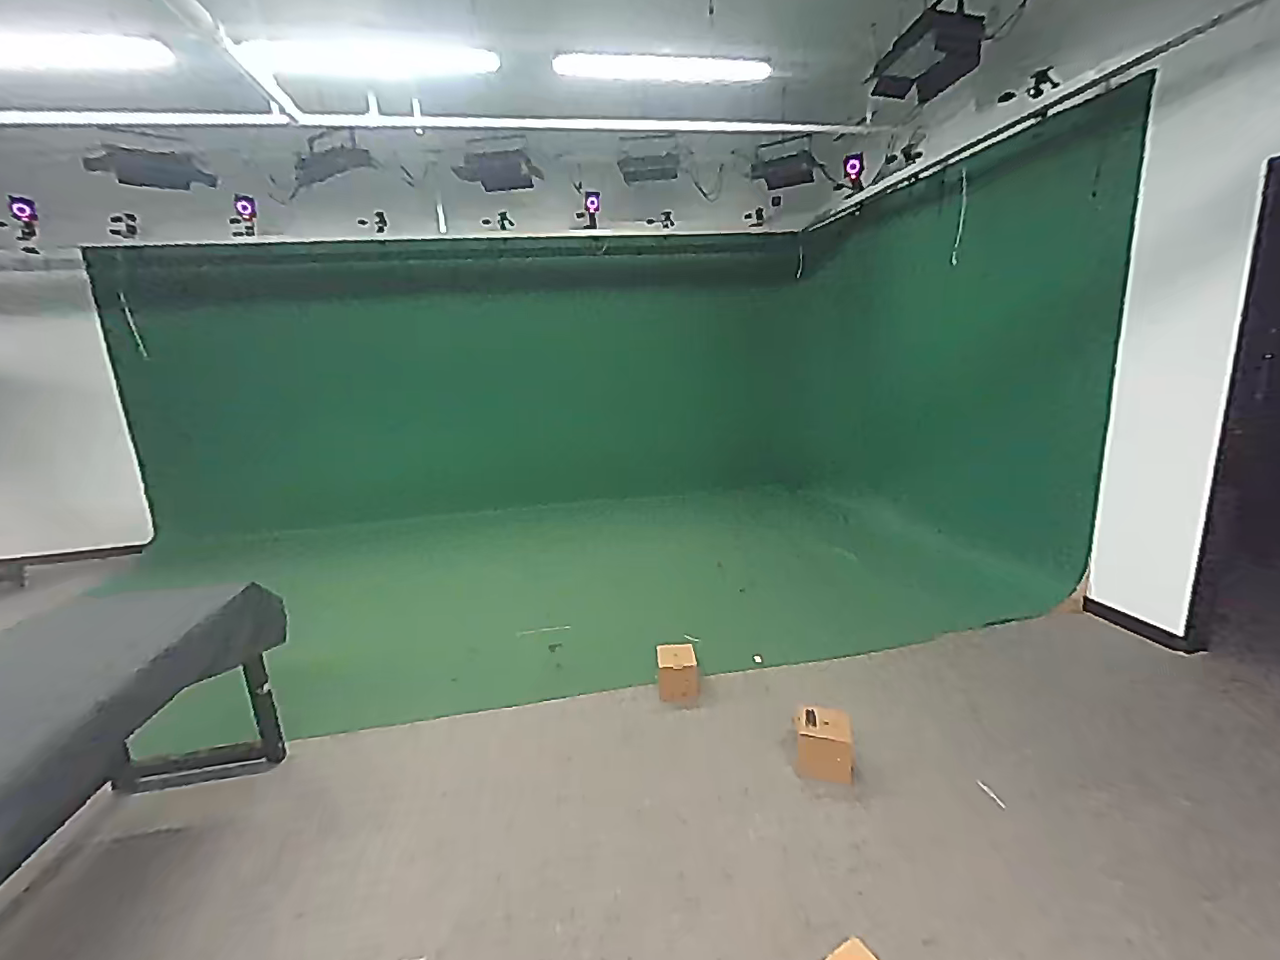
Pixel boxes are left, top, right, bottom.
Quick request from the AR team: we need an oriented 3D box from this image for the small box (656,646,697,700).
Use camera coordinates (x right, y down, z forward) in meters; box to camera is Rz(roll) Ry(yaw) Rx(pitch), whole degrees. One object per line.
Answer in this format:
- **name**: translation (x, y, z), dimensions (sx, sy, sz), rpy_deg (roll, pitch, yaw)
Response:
- **small box**: translation (0.161, 0.860, 2.398), dimensions (0.168, 0.176, 0.179), rpy_deg (-2, 12, -2)
